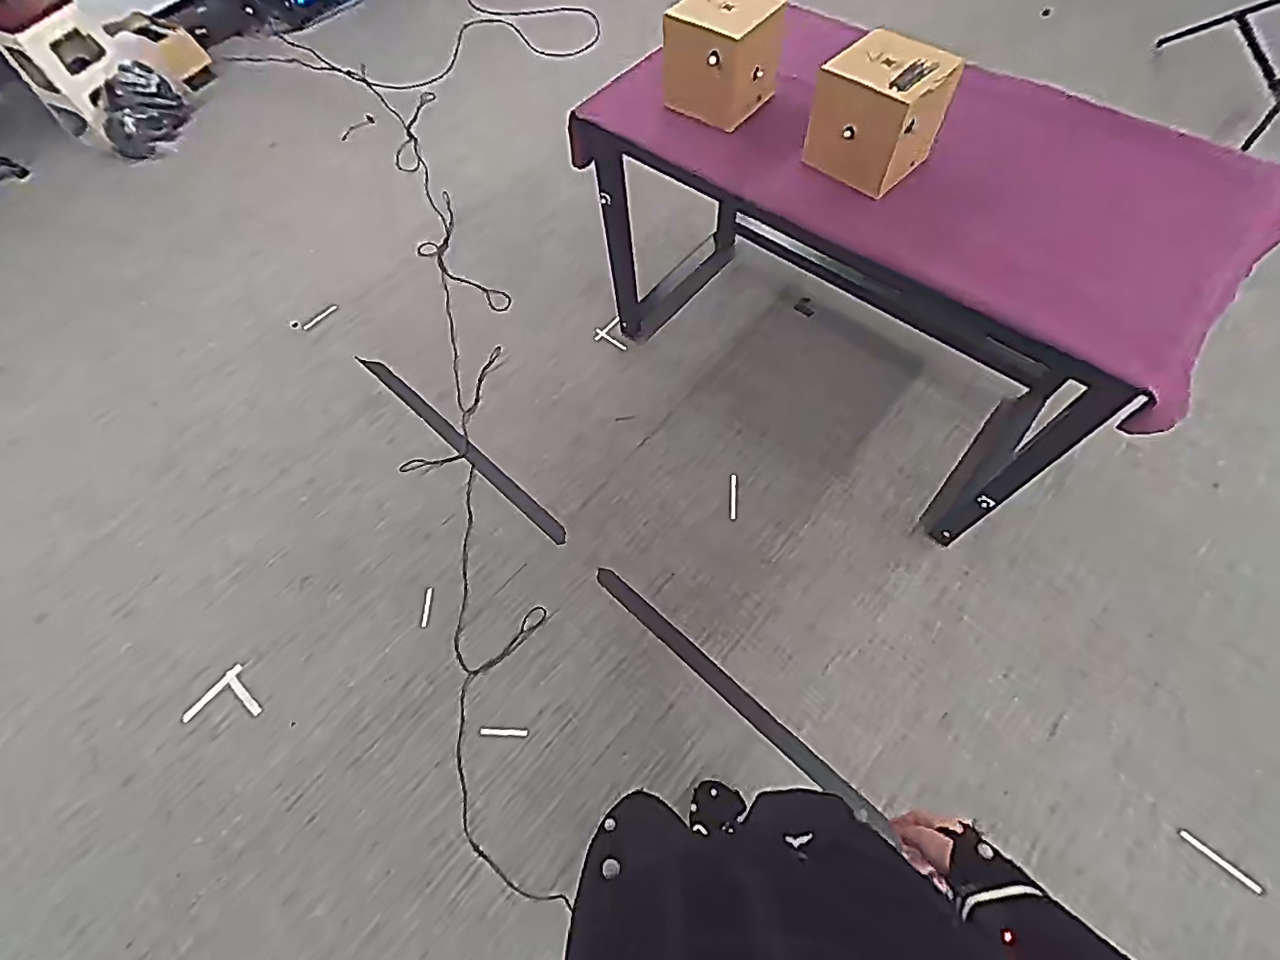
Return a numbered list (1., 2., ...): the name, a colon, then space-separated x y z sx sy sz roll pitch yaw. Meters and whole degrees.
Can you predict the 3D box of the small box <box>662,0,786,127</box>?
1. small box: 0.162 -0.850 1.086 0.179 0.176 0.168 35 70 19
